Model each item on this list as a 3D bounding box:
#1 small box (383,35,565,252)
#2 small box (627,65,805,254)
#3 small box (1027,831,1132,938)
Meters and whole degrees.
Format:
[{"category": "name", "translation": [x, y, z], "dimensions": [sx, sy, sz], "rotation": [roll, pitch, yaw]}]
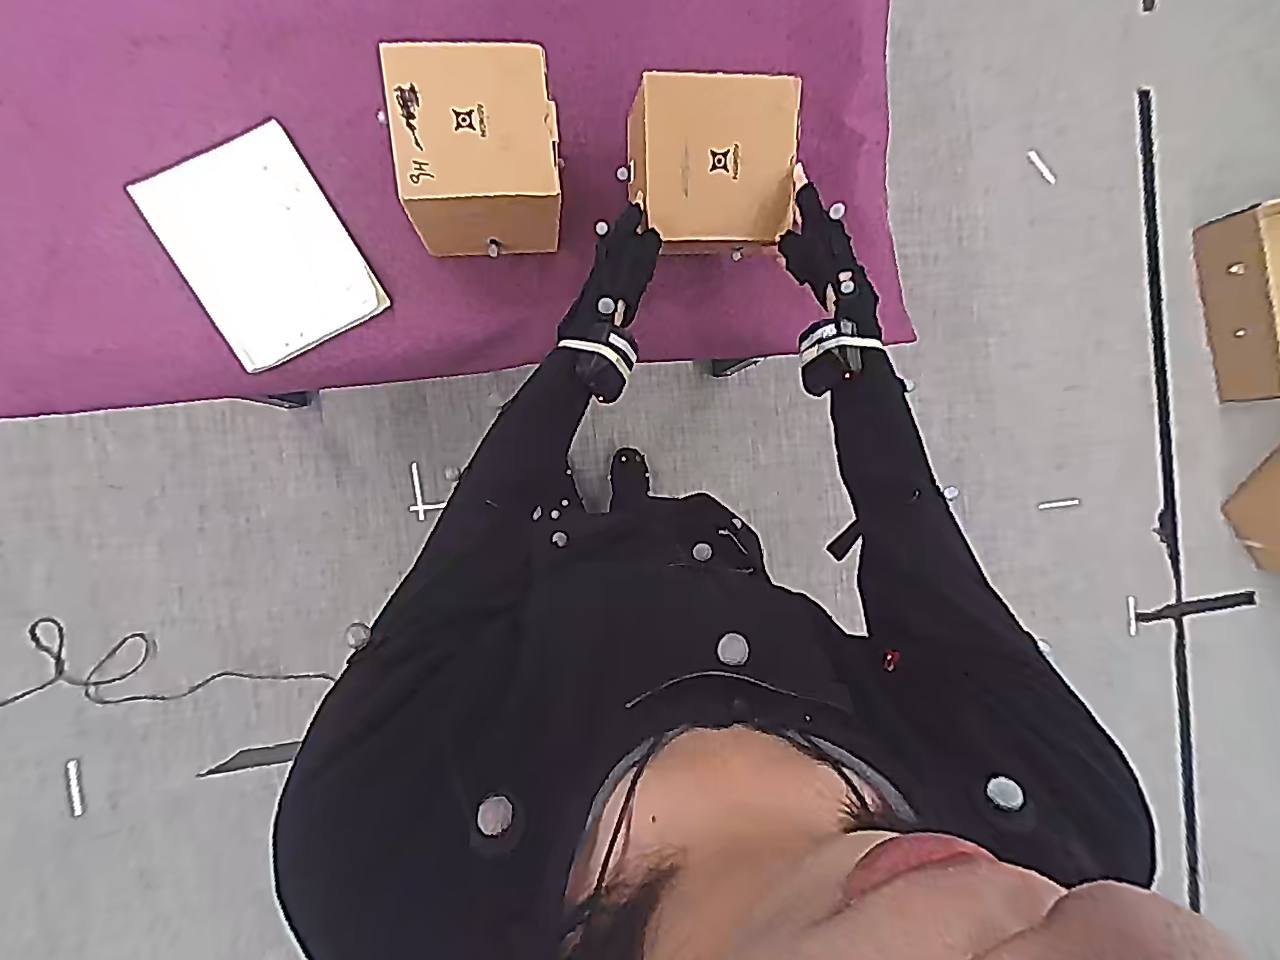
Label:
[{"category": "small box", "translation": [-0.193, -0.394, 0.662], "dimensions": [0.179, 0.176, 0.168], "rotation": [-7, 92, -11]}, {"category": "small box", "translation": [0.083, -0.379, 0.668], "dimensions": [0.179, 0.176, 0.168], "rotation": [-4, 107, -7]}, {"category": "small box", "translation": [1.394, 1.280, 1.725], "dimensions": [0.168, 0.176, 0.179], "rotation": [-29, 95, -8]}]
